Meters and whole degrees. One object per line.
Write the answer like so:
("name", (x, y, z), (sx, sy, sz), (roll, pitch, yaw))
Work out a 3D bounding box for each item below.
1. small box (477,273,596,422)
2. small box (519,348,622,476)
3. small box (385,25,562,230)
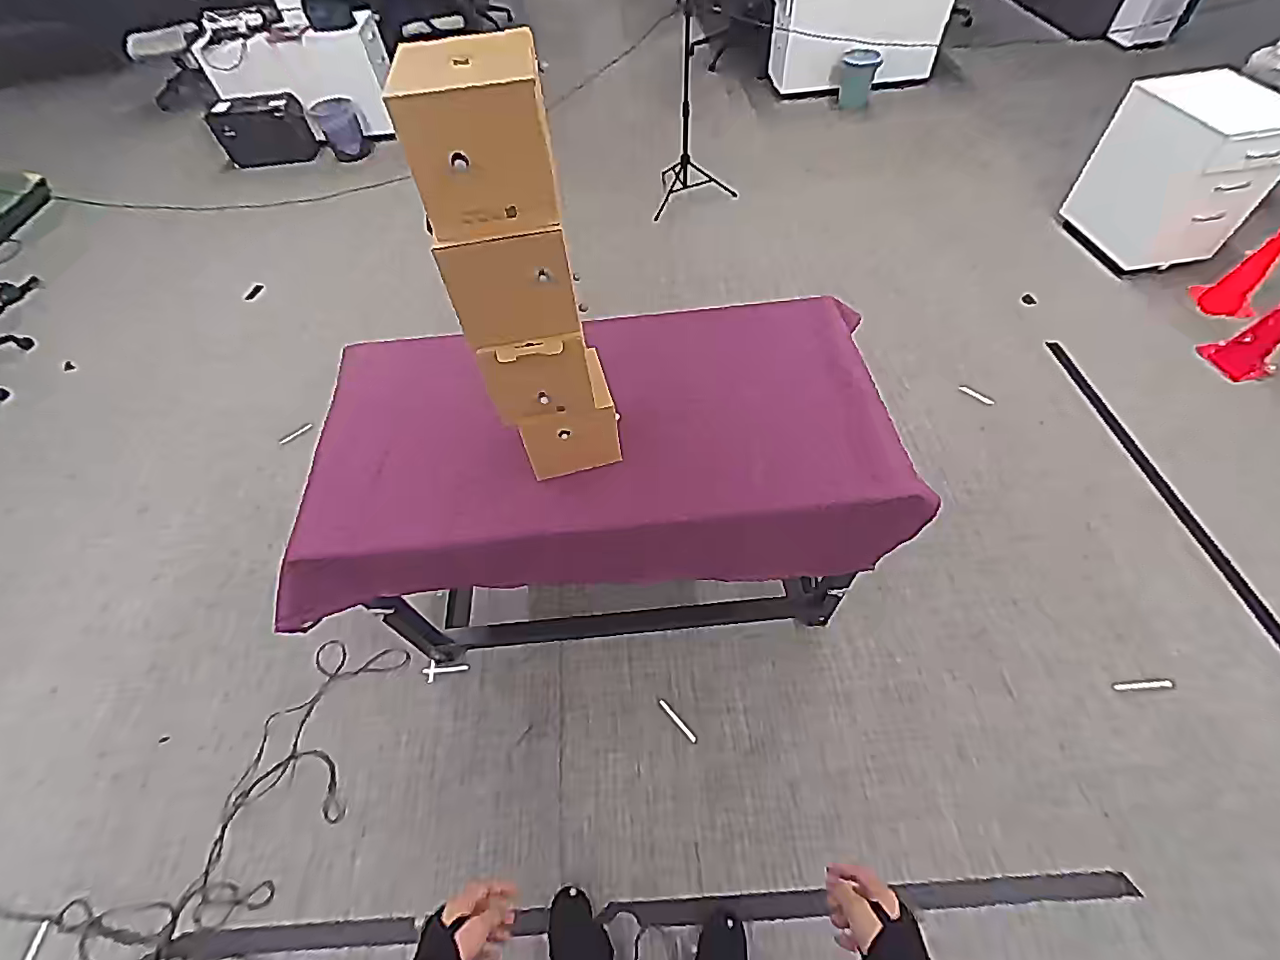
("small box", (-0.174, -0.227, 0.938), (0.168, 0.176, 0.179), (-10, 55, -2))
("small box", (-0.142, -0.129, 1.068), (0.179, 0.176, 0.168), (-14, 55, -6))
("small box", (-0.197, -0.437, 0.687), (0.168, 0.176, 0.179), (-9, 54, -2))
